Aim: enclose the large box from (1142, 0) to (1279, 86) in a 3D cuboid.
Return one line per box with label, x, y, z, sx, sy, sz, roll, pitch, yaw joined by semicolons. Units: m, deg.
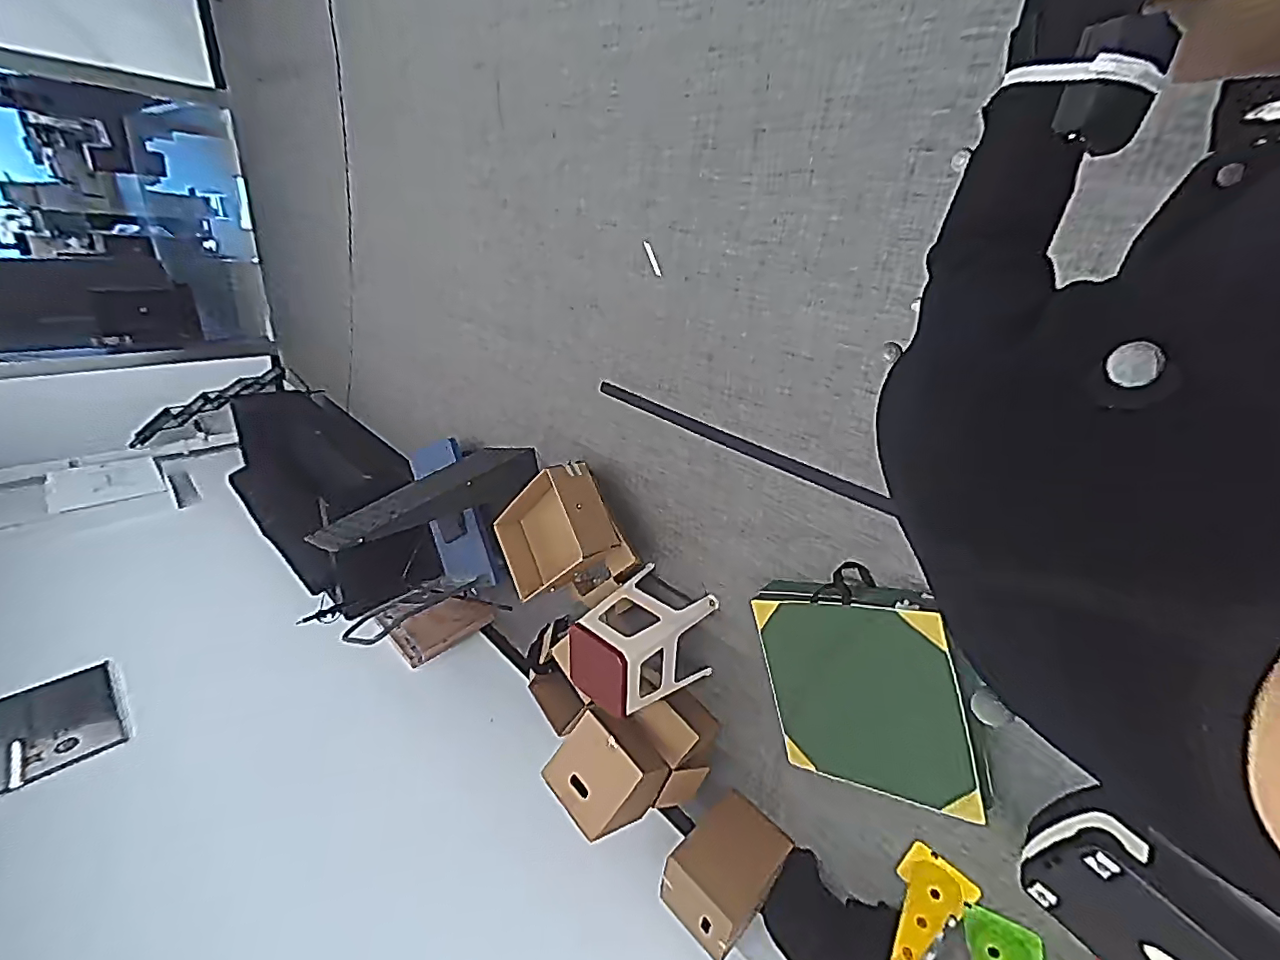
large box;0.577;-0.432;0.268;0.408;0.320;0.320;25;125;38
